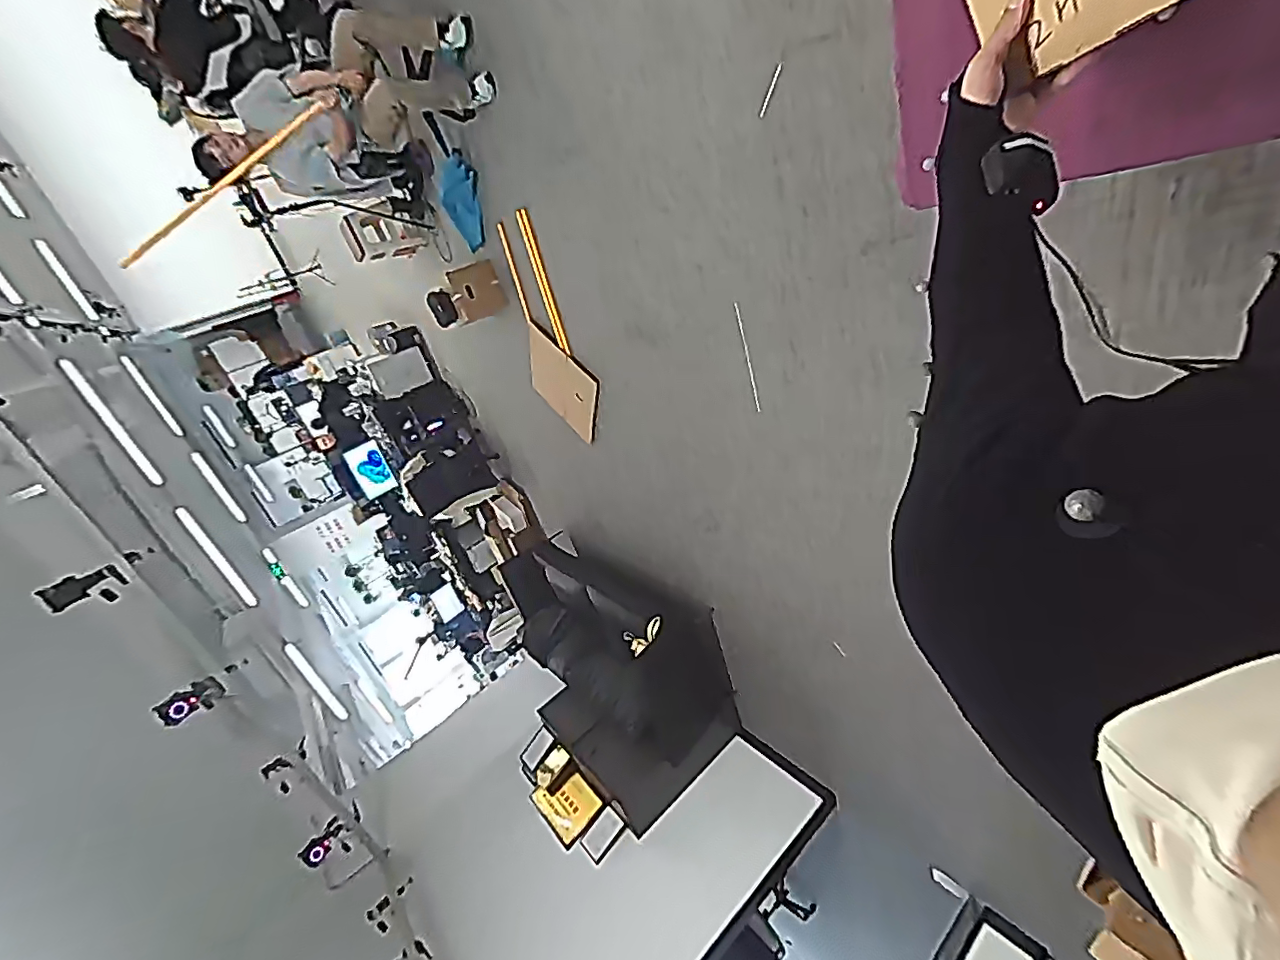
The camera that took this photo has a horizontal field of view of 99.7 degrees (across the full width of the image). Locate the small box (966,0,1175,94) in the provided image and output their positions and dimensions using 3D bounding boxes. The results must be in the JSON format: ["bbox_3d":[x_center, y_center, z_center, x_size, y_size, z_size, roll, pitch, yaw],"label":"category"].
[{"bbox_3d":[0.415,-0.499,0.470,0.179,0.176,0.168,57,171,-17],"label":"small box"}]

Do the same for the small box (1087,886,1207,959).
[{"bbox_3d":[1.288,1.190,1.373,0.168,0.176,0.179,29,142,46],"label":"small box"}]
